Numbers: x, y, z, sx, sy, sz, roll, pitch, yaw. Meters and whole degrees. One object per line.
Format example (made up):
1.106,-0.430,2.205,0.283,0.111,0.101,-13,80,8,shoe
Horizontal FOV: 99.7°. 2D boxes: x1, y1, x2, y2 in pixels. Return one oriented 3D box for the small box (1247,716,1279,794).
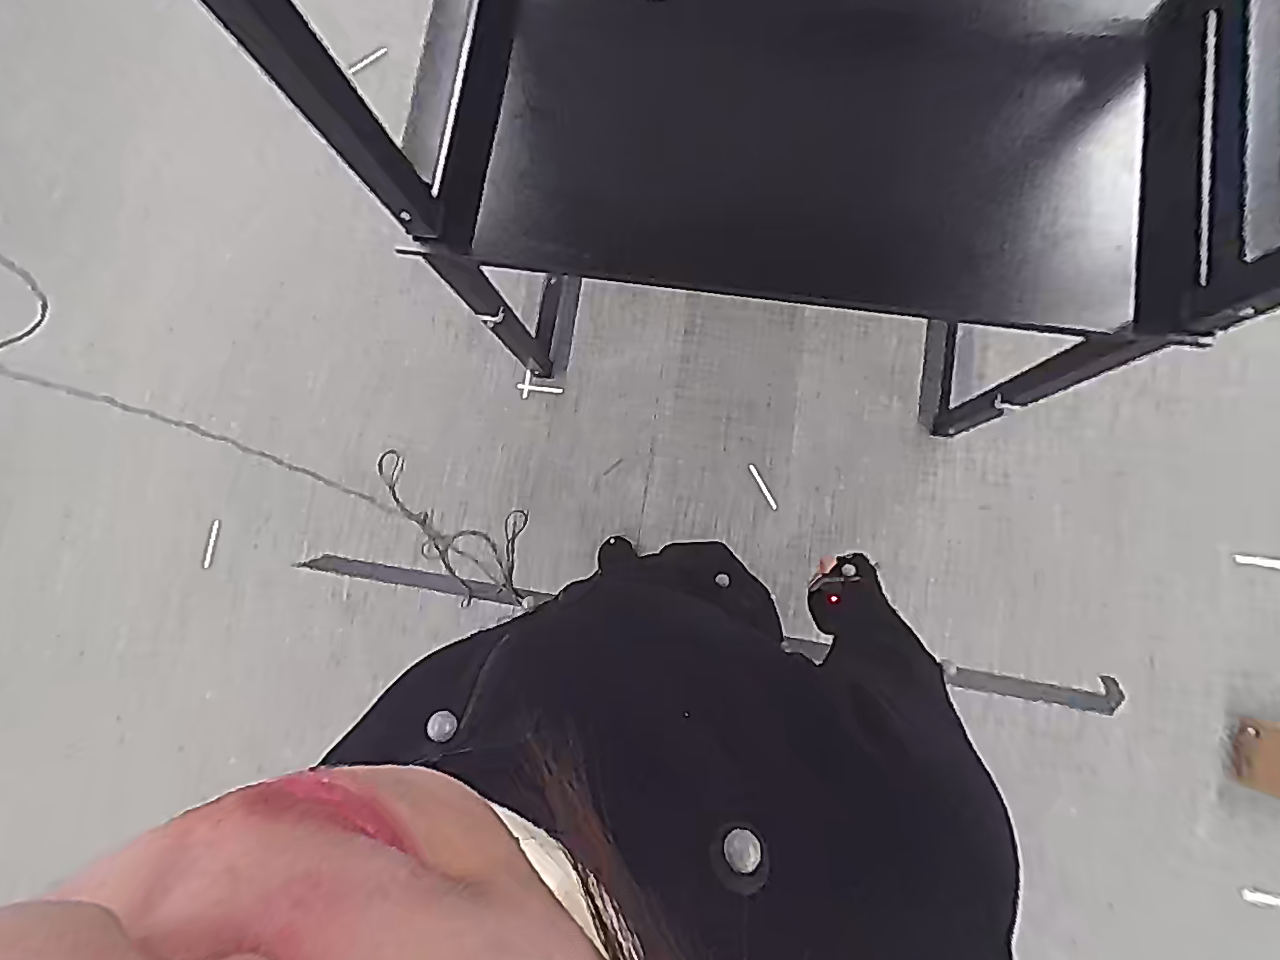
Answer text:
1.557,0.656,1.229,0.179,0.176,0.168,10,85,5,small box
